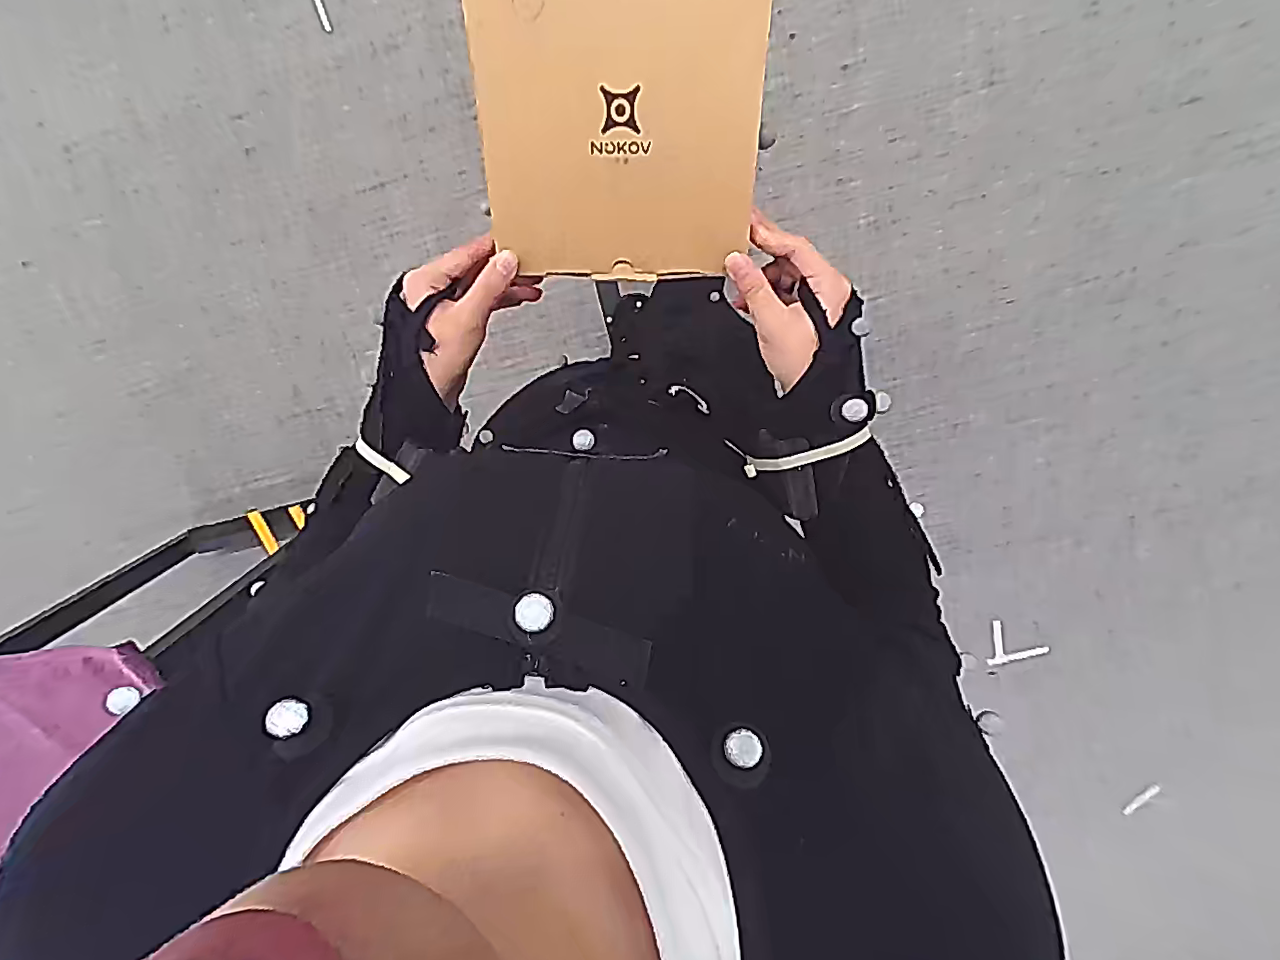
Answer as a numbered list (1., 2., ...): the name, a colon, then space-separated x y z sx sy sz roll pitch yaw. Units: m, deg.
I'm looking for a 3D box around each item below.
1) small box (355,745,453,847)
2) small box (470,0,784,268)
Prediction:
1. small box: -0.660 0.890 1.534 0.179 0.176 0.168 -14 110 3
2. small box: -0.009 -0.253 0.371 0.168 0.176 0.179 -1 123 0
